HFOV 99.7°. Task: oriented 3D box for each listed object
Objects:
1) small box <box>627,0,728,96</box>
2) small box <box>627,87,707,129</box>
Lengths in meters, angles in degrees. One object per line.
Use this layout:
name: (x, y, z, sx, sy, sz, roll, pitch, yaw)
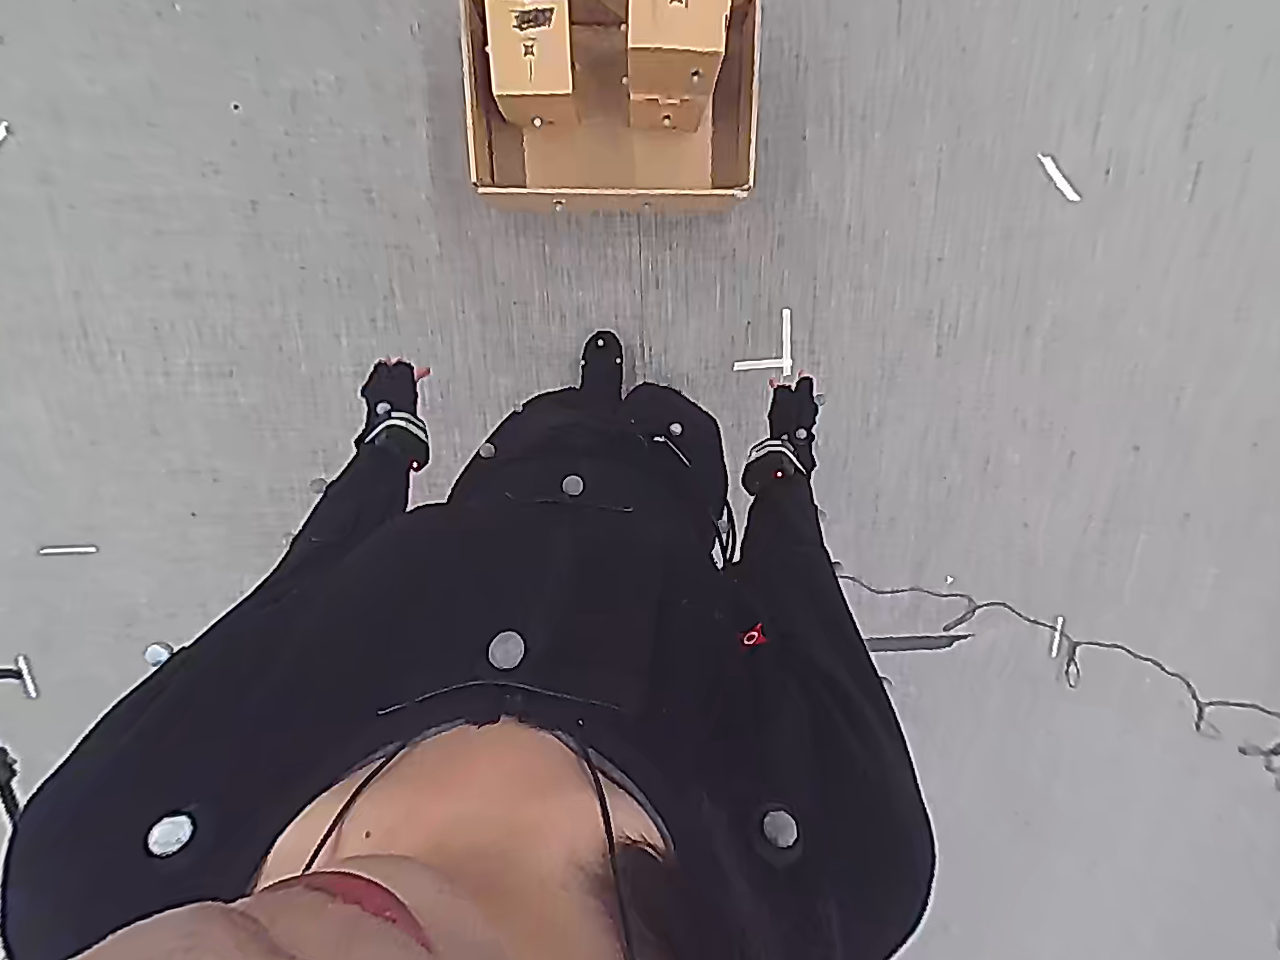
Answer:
small box: (0.066, -0.853, 1.017, 0.179, 0.176, 0.168, 1, 102, -1)
small box: (0.057, -0.887, 1.176, 0.168, 0.176, 0.179, 0, 105, -2)
